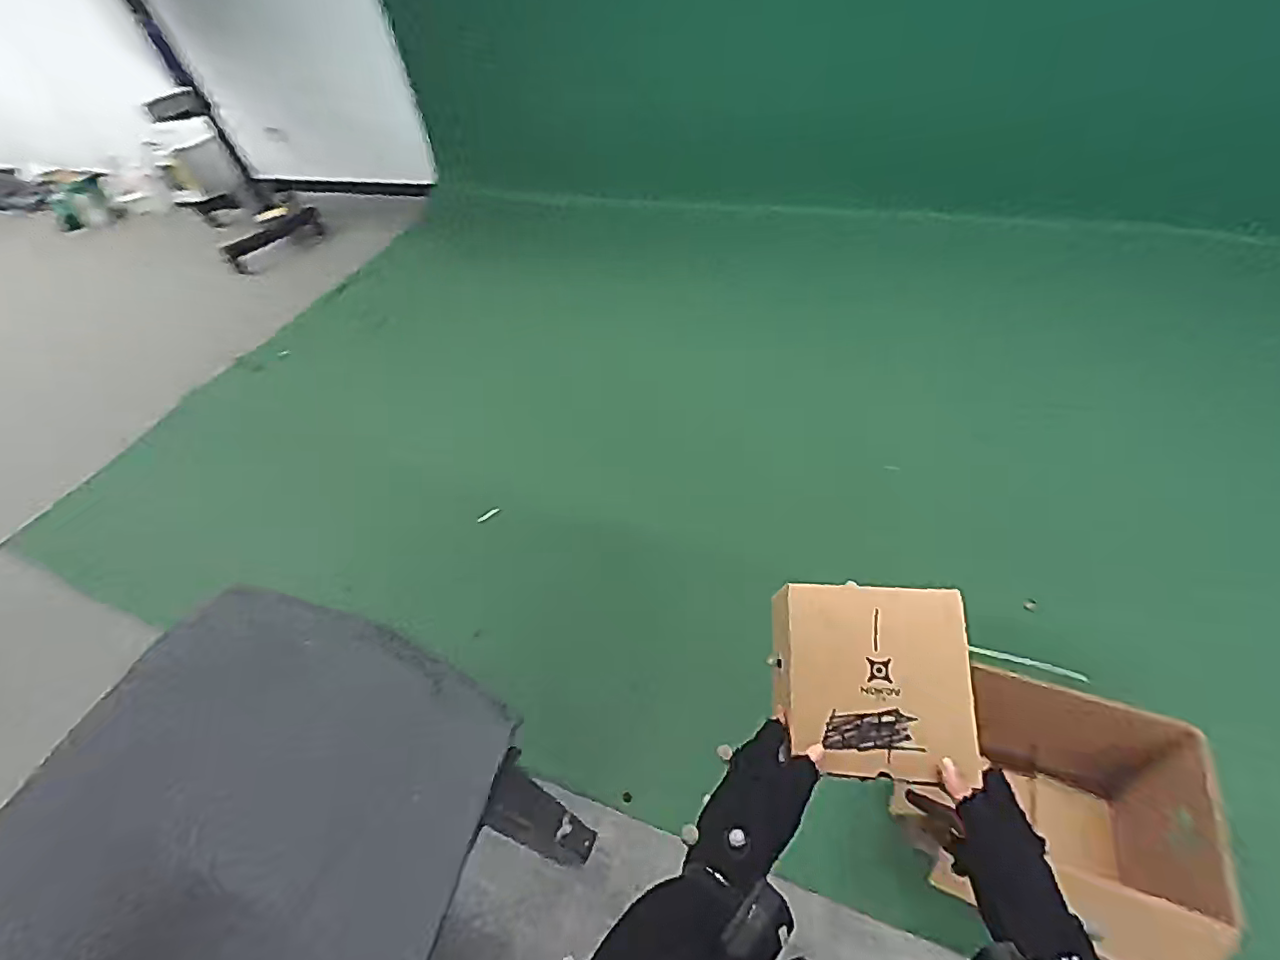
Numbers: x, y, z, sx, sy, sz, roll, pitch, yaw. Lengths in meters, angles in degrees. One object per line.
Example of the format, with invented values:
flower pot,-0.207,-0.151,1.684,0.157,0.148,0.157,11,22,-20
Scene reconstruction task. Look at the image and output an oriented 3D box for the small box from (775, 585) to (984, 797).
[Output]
small box,0.240,0.214,0.584,0.168,0.176,0.179,2,73,9
